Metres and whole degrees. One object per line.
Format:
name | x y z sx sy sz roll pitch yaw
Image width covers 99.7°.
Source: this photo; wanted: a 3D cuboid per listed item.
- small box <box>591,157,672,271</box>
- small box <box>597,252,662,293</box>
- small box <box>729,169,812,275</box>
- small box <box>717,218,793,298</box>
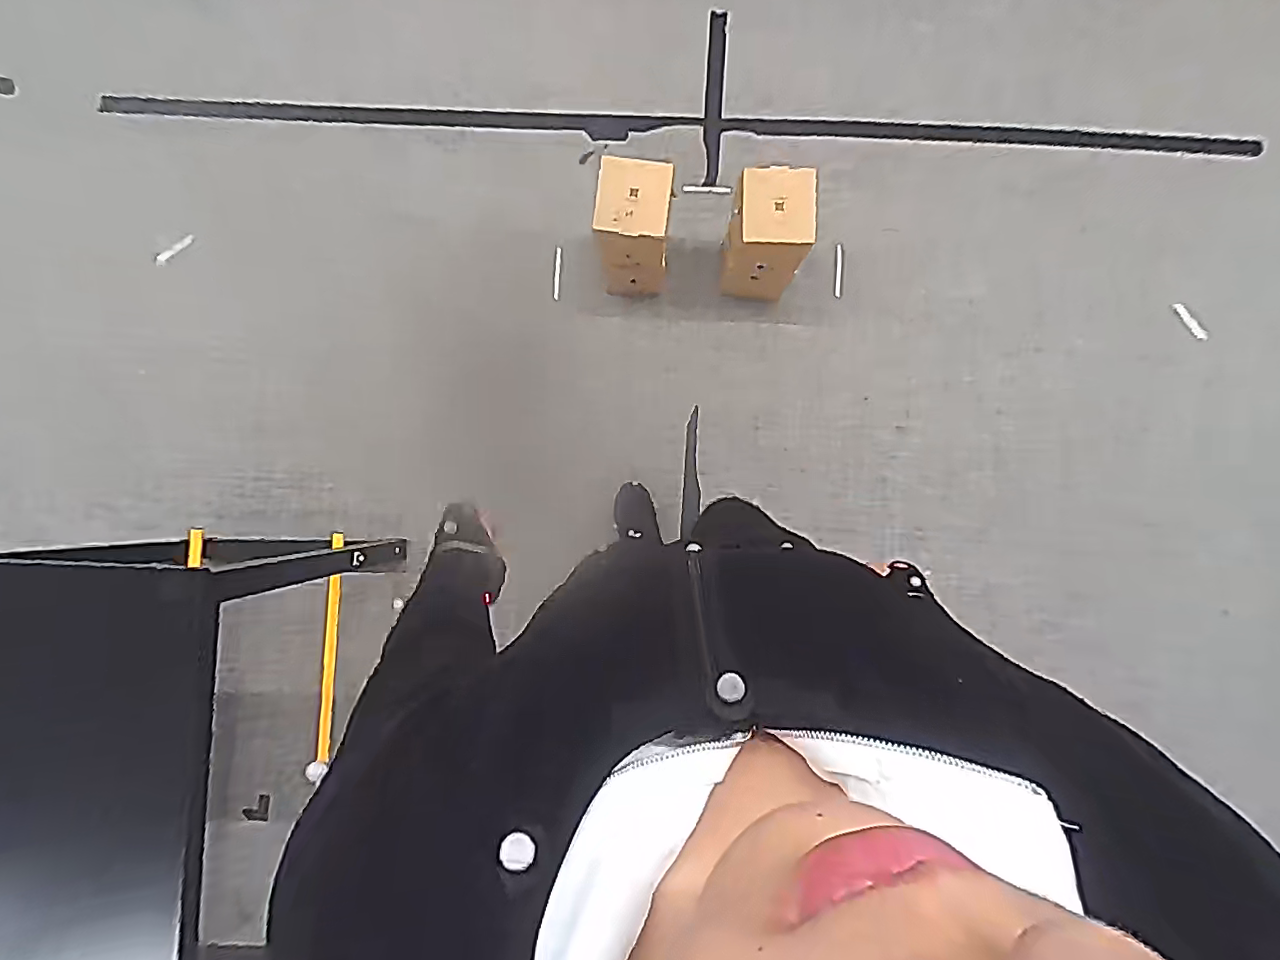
small box | -0.021 -0.628 1.291 0.168 0.176 0.179 7 88 0
small box | -0.024 -0.619 1.456 0.168 0.176 0.179 2 88 0
small box | 0.307 -0.614 1.299 0.168 0.176 0.179 0 89 1
small box | 0.310 -0.606 1.462 0.179 0.176 0.168 5 88 -2
